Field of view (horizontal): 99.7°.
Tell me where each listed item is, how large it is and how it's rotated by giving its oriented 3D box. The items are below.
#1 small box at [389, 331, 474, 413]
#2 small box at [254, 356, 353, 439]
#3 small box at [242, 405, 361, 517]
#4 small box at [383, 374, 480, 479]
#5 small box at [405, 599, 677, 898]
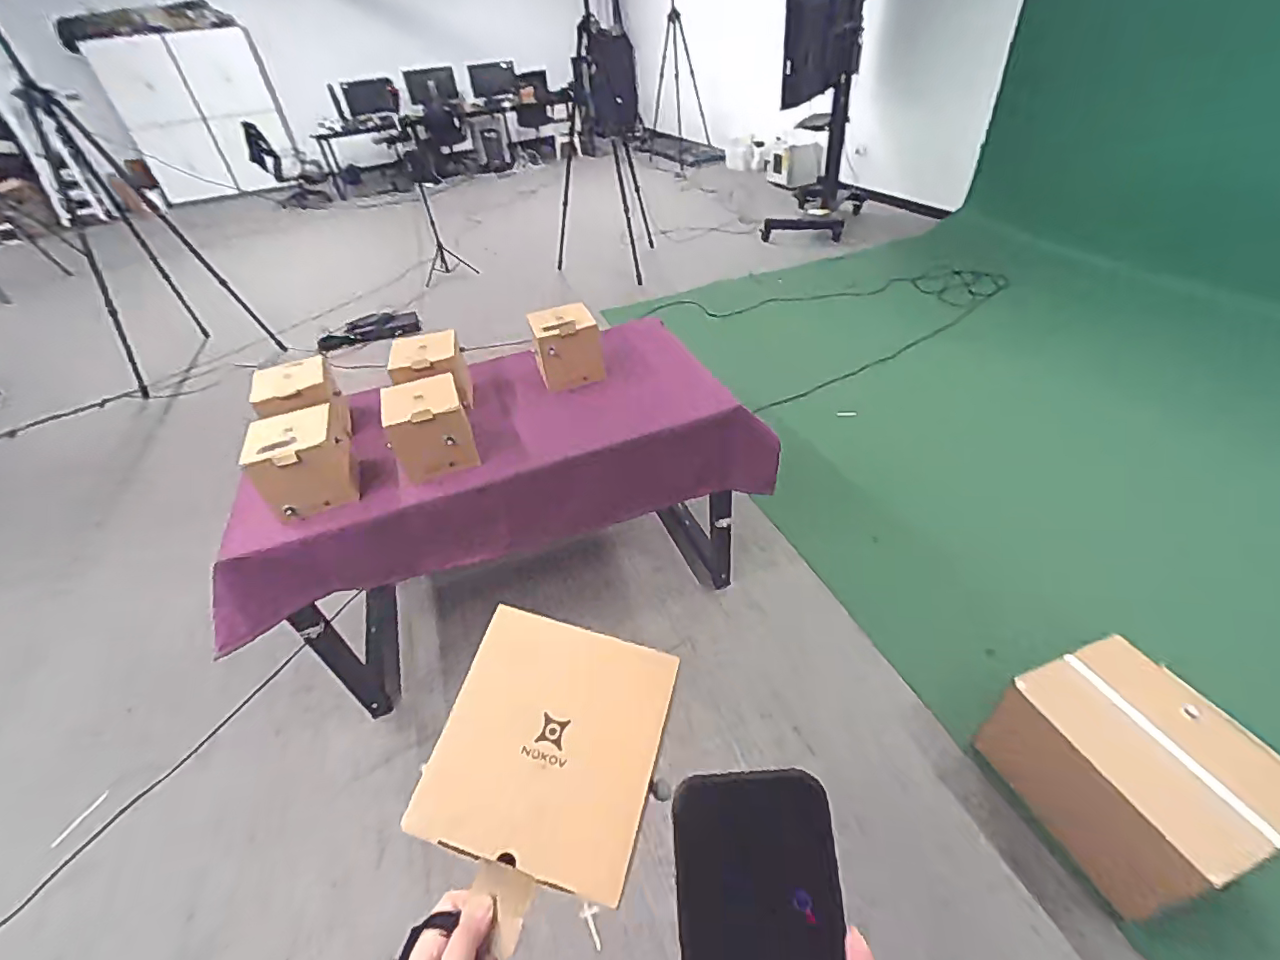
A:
[{"bbox_3d":[-0.553,-0.278,1.458,0.168,0.176,0.179,-13,41,-7],"label":"small box"},{"bbox_3d":[-0.863,-0.191,1.400,0.168,0.176,0.179,-20,43,-16],"label":"small box"},{"bbox_3d":[-0.739,-0.037,1.203,0.168,0.176,0.179,-18,40,-14],"label":"small box"},{"bbox_3d":[-0.485,-0.120,1.266,0.168,0.176,0.179,-17,40,-13],"label":"small box"},{"bbox_3d":[-0.072,0.236,0.491,0.168,0.176,0.179,14,60,9],"label":"small box"}]
